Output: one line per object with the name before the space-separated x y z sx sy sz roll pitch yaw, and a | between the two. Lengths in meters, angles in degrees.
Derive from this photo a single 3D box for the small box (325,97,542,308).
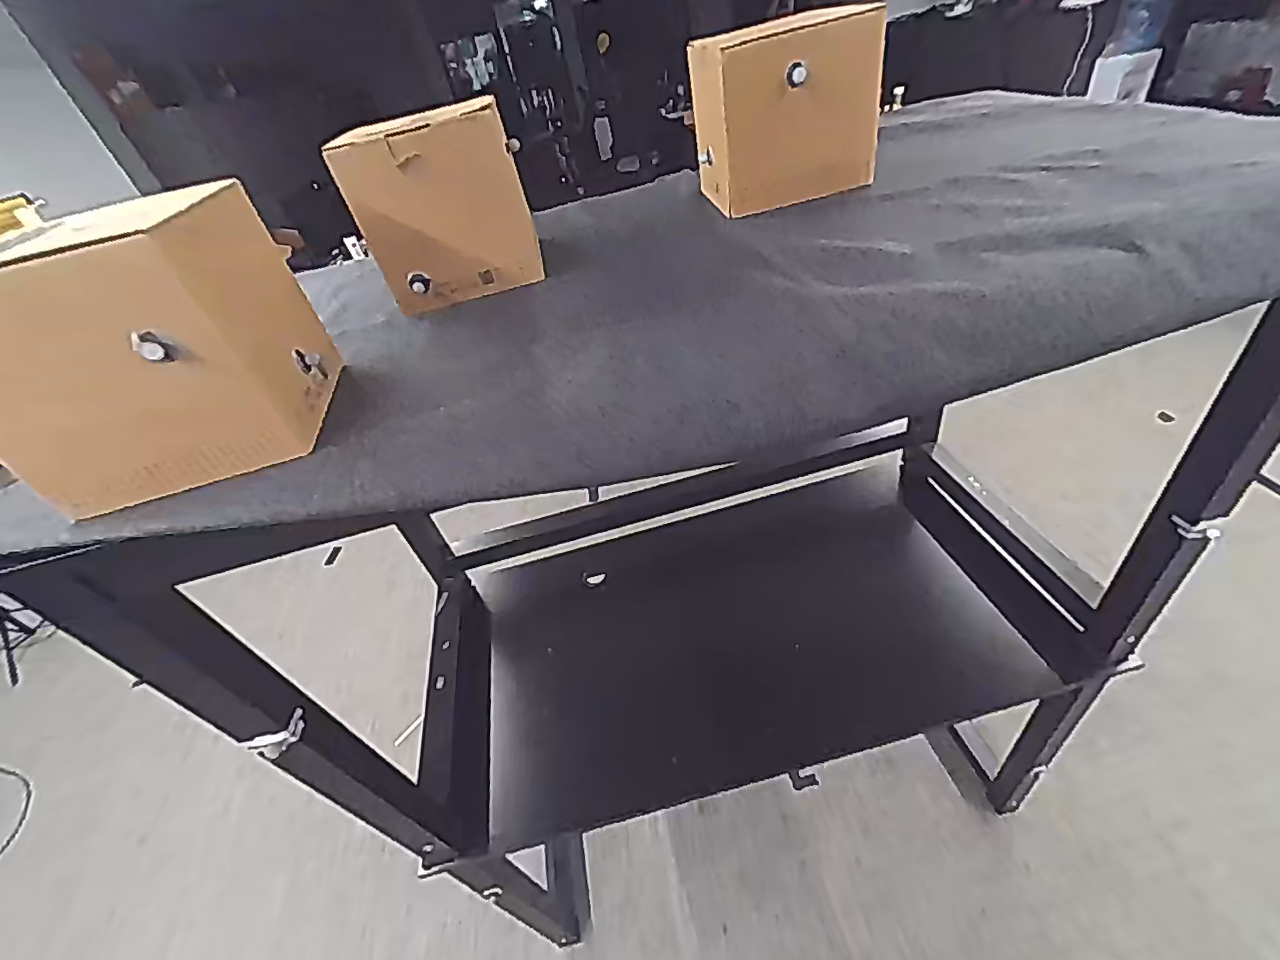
small box | -0.217 -0.314 0.621 0.168 0.176 0.179 -16 39 -1

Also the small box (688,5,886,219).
small box | 0.167 -0.439 0.650 0.179 0.176 0.168 -14 40 2
